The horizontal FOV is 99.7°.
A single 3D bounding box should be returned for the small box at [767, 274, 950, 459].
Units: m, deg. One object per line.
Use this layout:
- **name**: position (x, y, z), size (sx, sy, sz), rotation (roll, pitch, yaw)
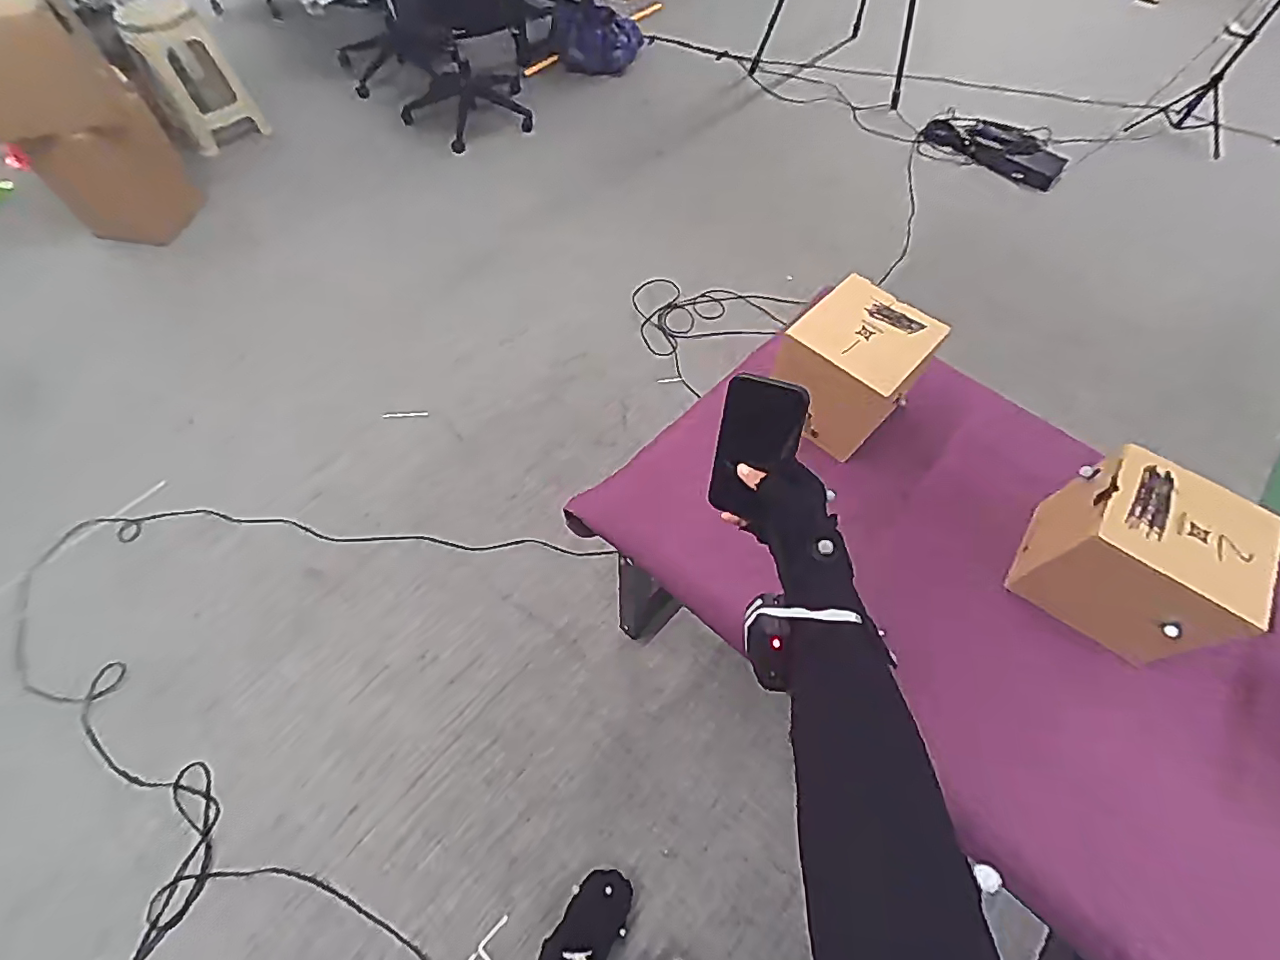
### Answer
- **small box**: position (0.316, -0.168, 0.820), size (0.168, 0.176, 0.179), rotation (41, 68, 19)
